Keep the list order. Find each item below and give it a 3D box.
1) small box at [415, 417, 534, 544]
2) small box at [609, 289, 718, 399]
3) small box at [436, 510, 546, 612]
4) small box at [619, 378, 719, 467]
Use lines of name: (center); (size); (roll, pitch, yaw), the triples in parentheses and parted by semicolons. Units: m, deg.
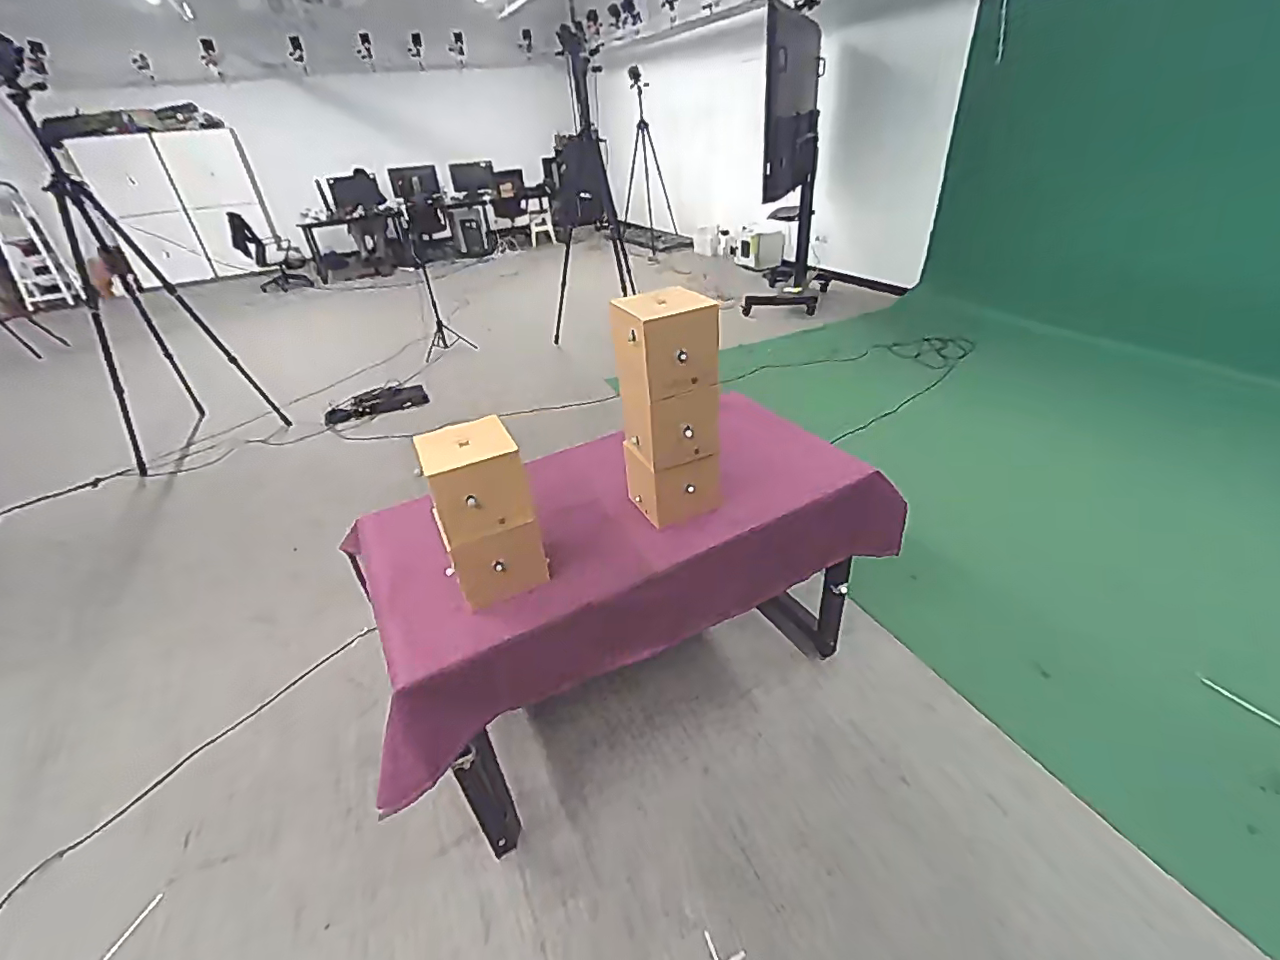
small box: (-0.318, 0.004, 1.047); (0.168, 0.176, 0.179); (-19, 34, -20)
small box: (0.051, -0.281, 1.121); (0.168, 0.176, 0.179); (-18, 35, -18)
small box: (-0.306, 0.141, 1.133); (0.179, 0.176, 0.168); (-20, 36, -20)
small box: (0.067, -0.144, 1.214); (0.168, 0.176, 0.179); (-17, 36, -17)
